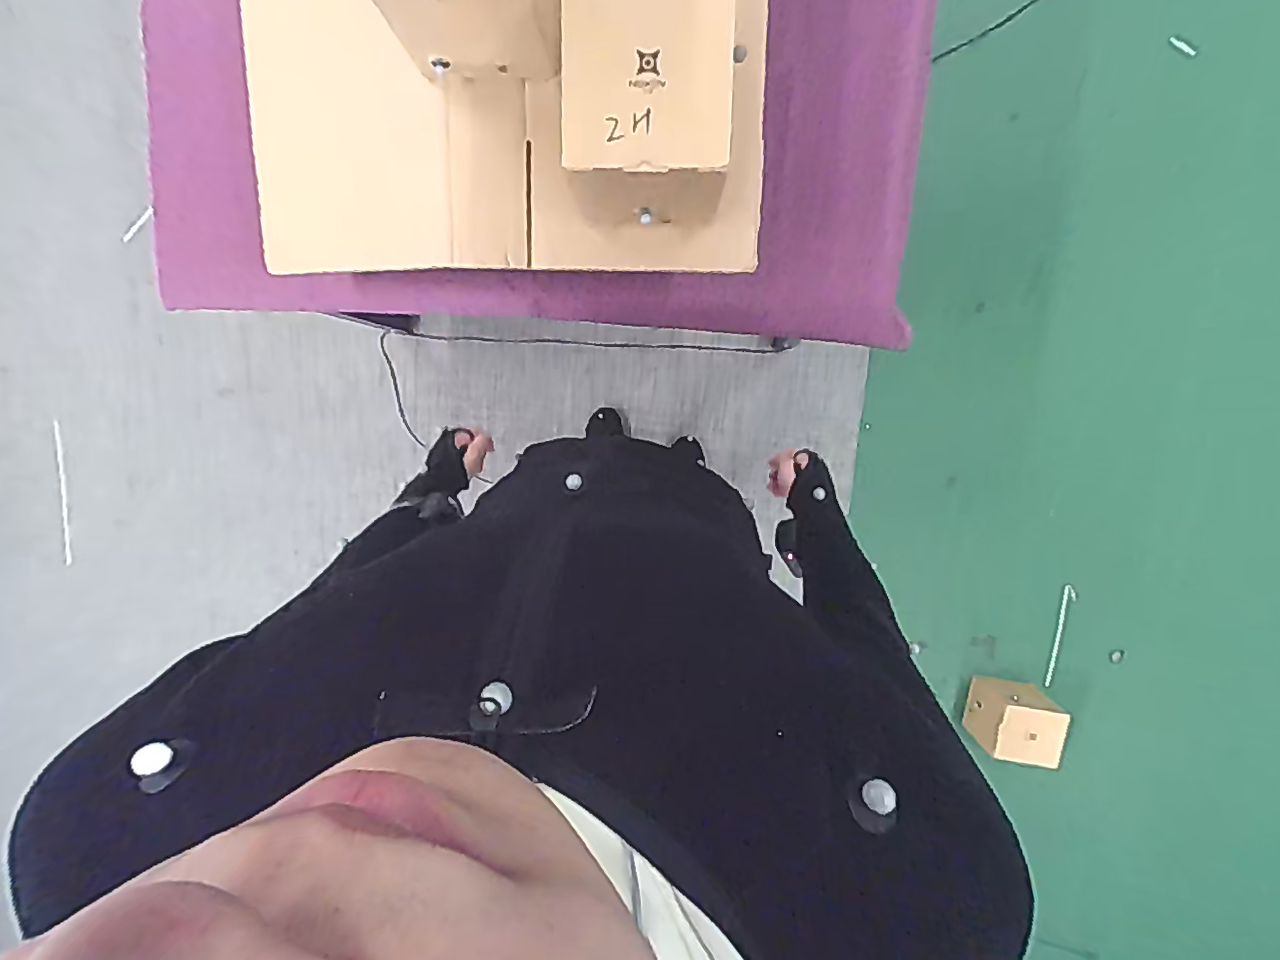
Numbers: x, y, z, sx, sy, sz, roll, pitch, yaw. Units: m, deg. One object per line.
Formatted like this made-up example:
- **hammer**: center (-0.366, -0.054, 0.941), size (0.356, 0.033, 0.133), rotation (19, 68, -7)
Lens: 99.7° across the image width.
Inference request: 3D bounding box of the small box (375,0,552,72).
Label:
- **small box**: center (-0.187, -0.569, 0.569), size (0.168, 0.176, 0.179), rotation (1, 97, 0)

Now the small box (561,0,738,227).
- **small box**: center (0.010, -0.397, 0.589), size (0.168, 0.176, 0.179), rotation (2, 99, 2)

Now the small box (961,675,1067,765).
- **small box**: center (1.079, 0.690, 1.572), size (0.179, 0.176, 0.168), rotation (8, 99, 3)
